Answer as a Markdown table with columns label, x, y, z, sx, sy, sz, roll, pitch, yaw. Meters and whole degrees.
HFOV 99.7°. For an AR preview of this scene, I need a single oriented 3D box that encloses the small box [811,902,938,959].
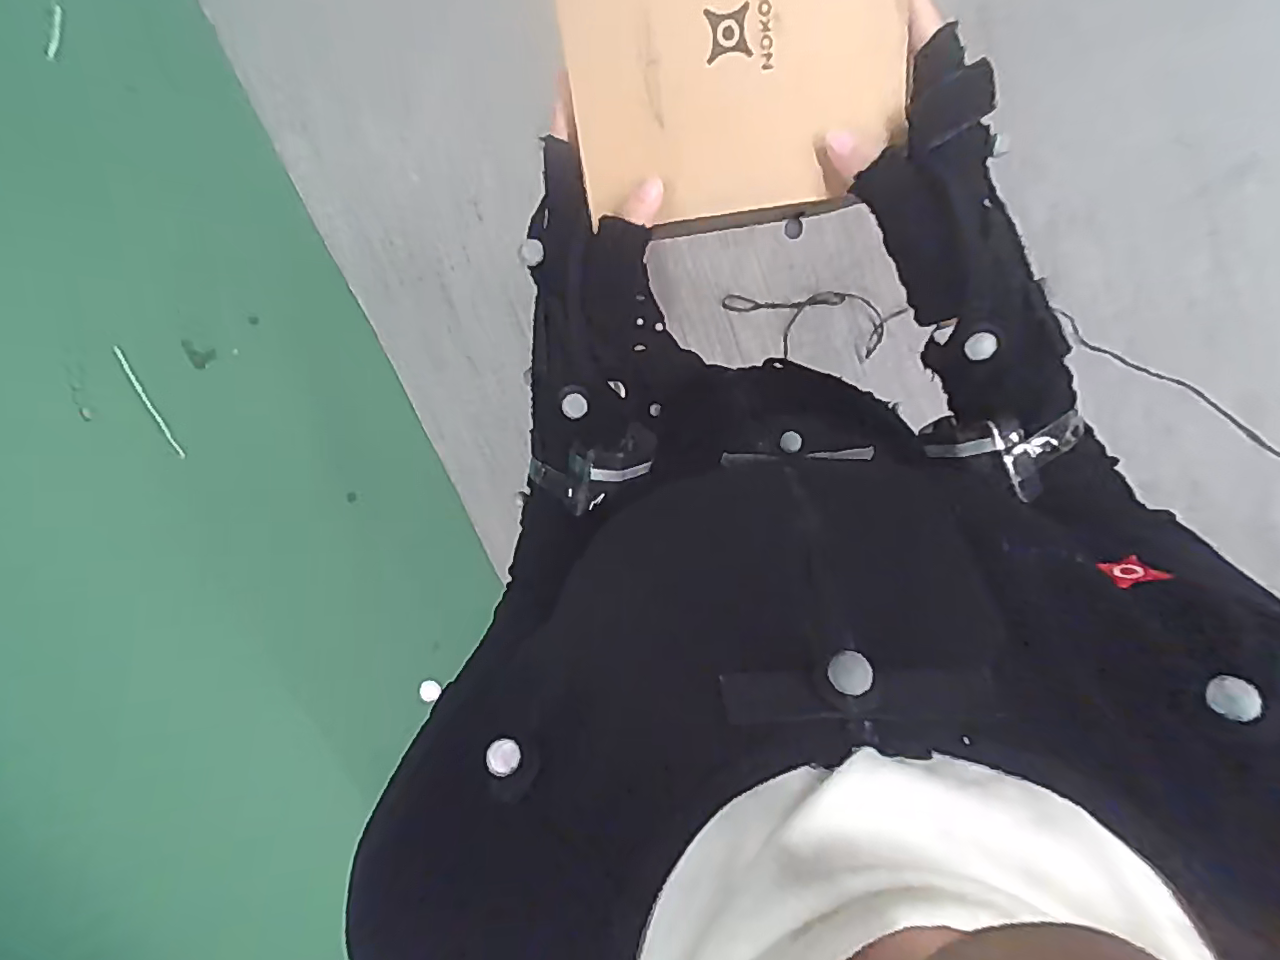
| label | x | y | z | sx | sy | sz | roll | pitch | yaw |
| --- | --- | --- | --- | --- | --- | --- | --- | --- | --- |
| small box | 0.370 | 0.763 | 0.789 | 0.168 | 0.176 | 0.179 | -24 | 102 | 10 |

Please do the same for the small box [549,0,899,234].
| label | x | y | z | sx | sy | sz | roll | pitch | yaw |
| --- | --- | --- | --- | --- | --- | --- | --- | --- | --- |
| small box | 0.045 | -0.264 | 0.349 | 0.179 | 0.176 | 0.168 | -7 | 110 | 6 |
